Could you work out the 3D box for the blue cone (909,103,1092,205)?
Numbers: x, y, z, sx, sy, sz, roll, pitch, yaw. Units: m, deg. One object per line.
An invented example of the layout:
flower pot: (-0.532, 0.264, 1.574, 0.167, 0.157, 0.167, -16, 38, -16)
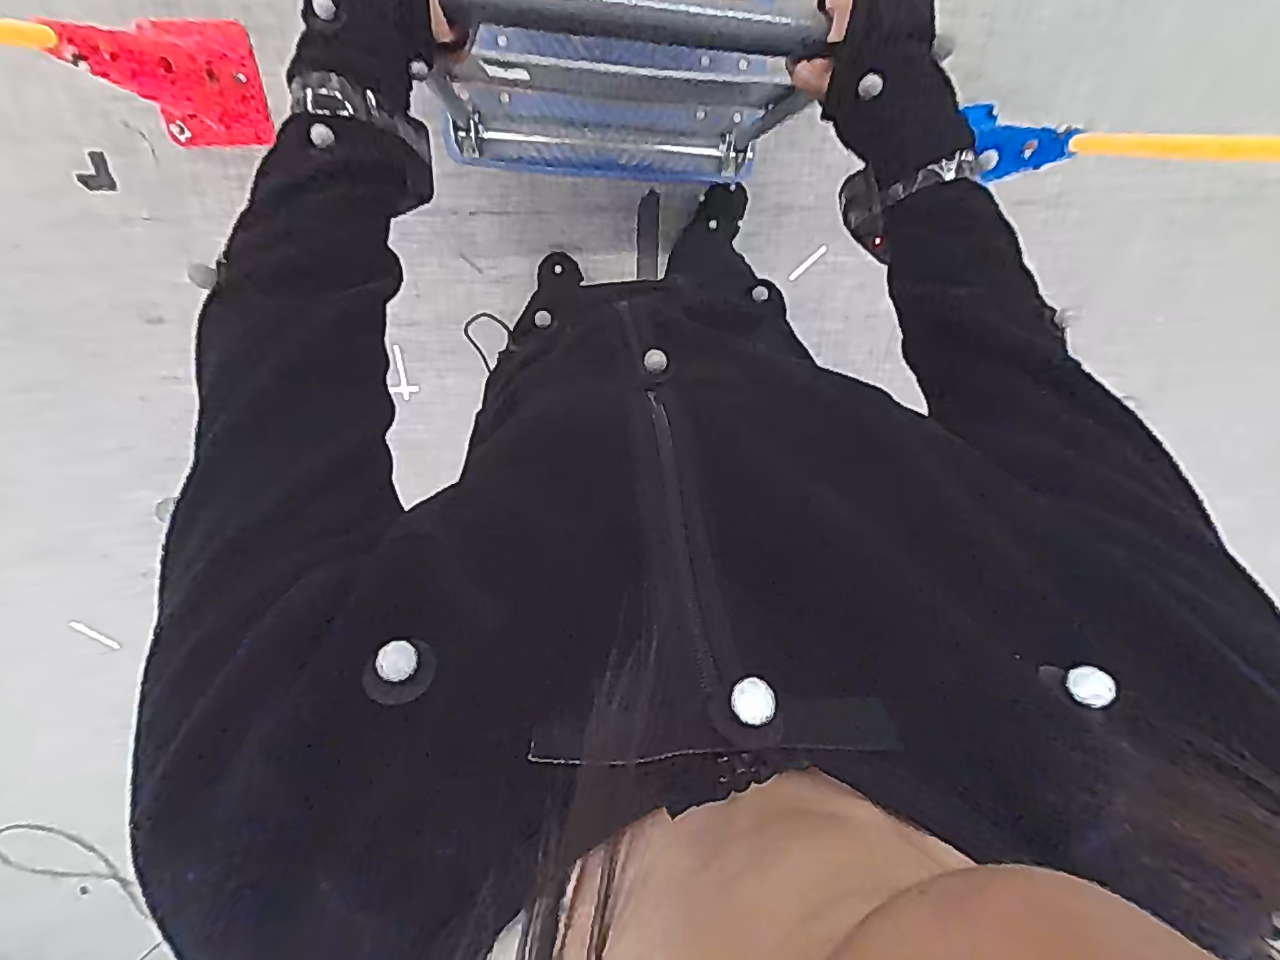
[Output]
blue cone: (0.721, -0.659, 1.072, 0.193, 0.380, 0.192, -6, 116, -4)
